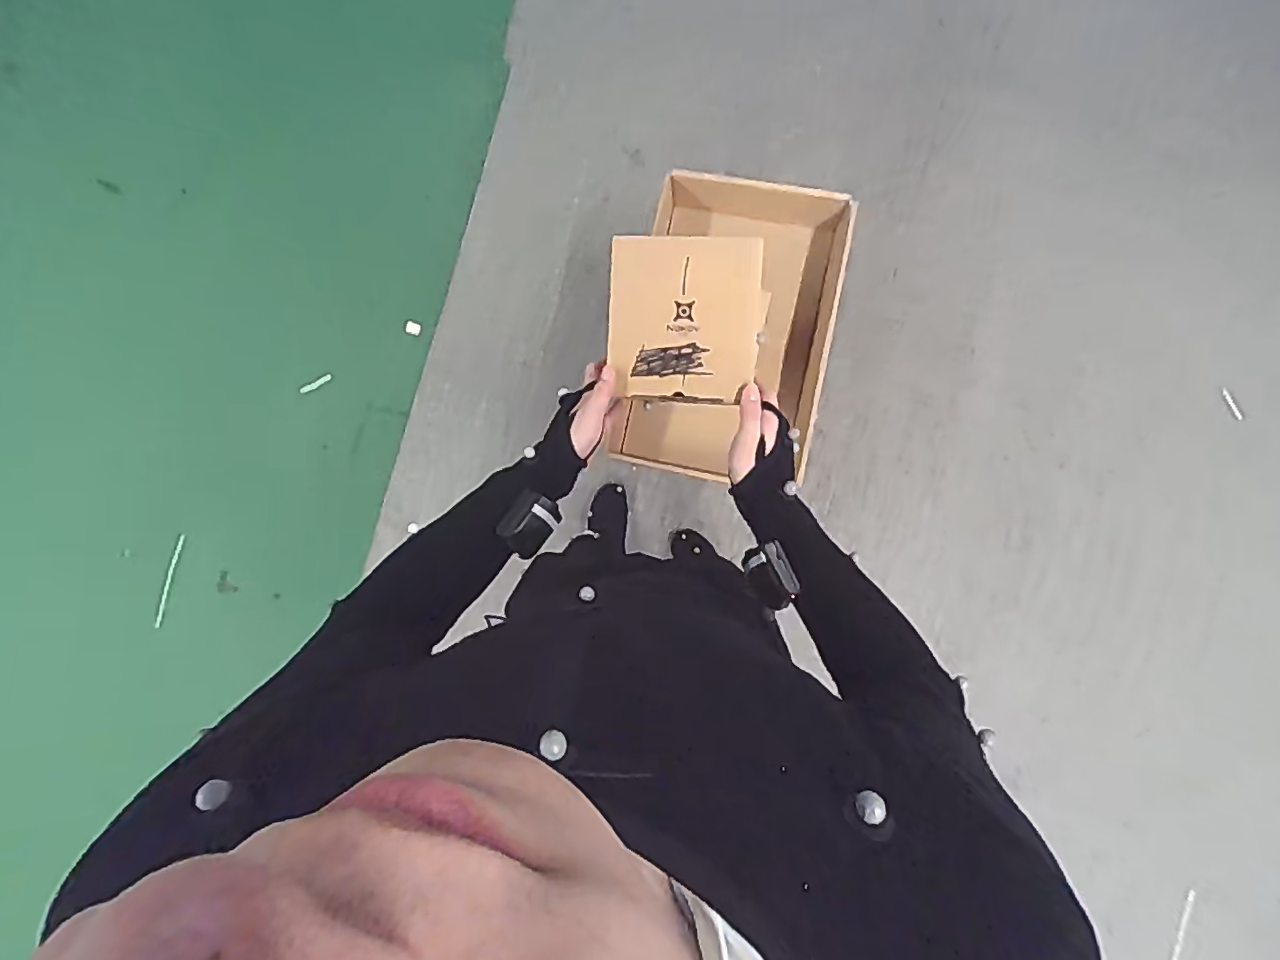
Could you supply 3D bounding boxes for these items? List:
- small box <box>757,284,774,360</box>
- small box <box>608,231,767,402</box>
[{"bbox_3d":[0.169,-0.306,1.132,0.168,0.176,0.179,13,89,6],"label":"small box"},{"bbox_3d":[0.060,-0.188,0.662,0.168,0.176,0.179,3,96,7],"label":"small box"}]
